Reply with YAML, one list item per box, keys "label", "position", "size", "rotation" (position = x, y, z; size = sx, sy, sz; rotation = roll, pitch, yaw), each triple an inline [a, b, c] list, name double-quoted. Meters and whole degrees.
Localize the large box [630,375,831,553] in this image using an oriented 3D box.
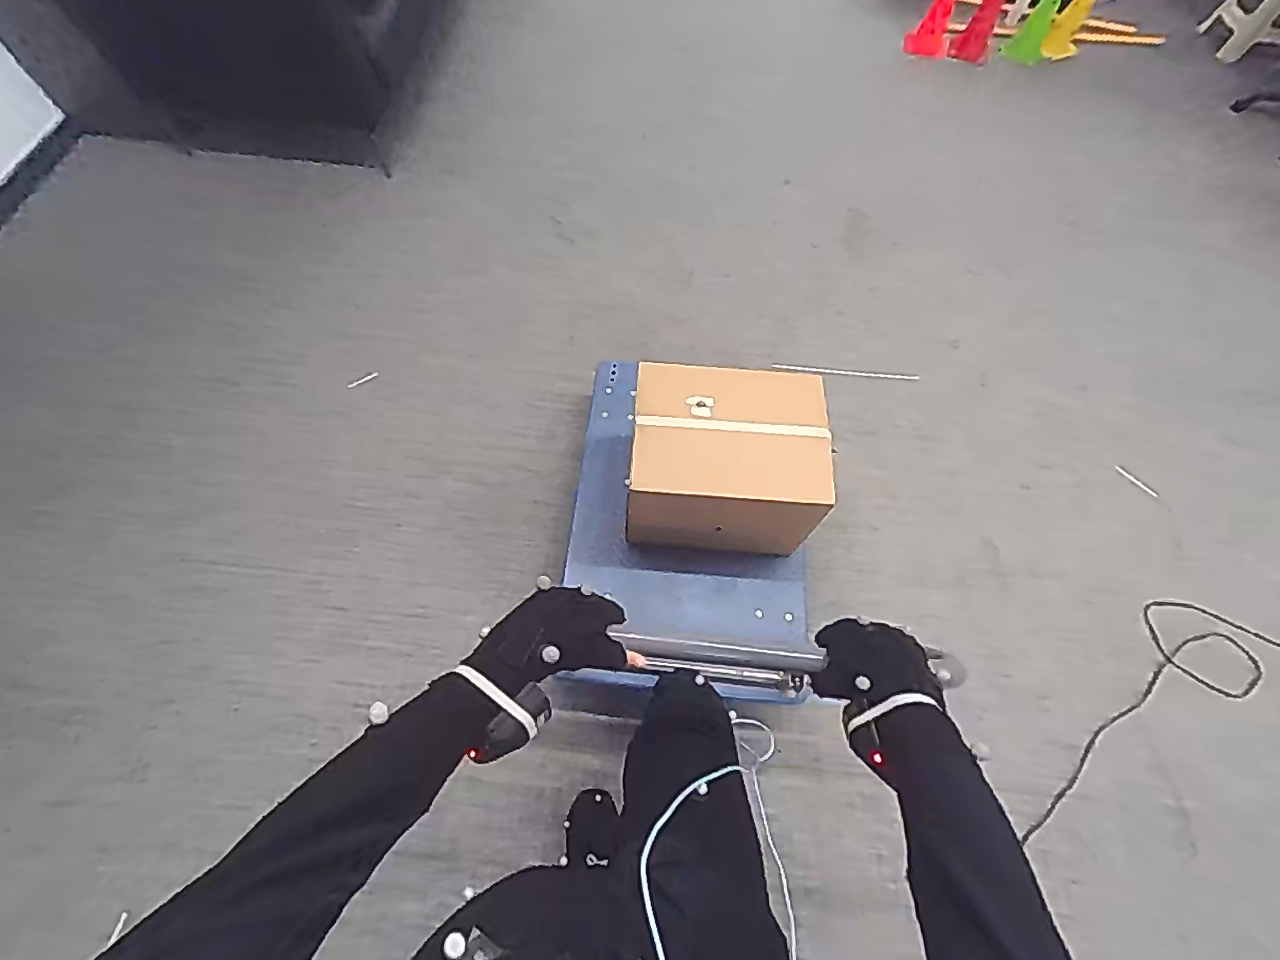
- label: "large box"
  position: [0.184, -0.025, 1.262]
  size: [0.408, 0.320, 0.320]
  rotation: [2, 63, 0]
